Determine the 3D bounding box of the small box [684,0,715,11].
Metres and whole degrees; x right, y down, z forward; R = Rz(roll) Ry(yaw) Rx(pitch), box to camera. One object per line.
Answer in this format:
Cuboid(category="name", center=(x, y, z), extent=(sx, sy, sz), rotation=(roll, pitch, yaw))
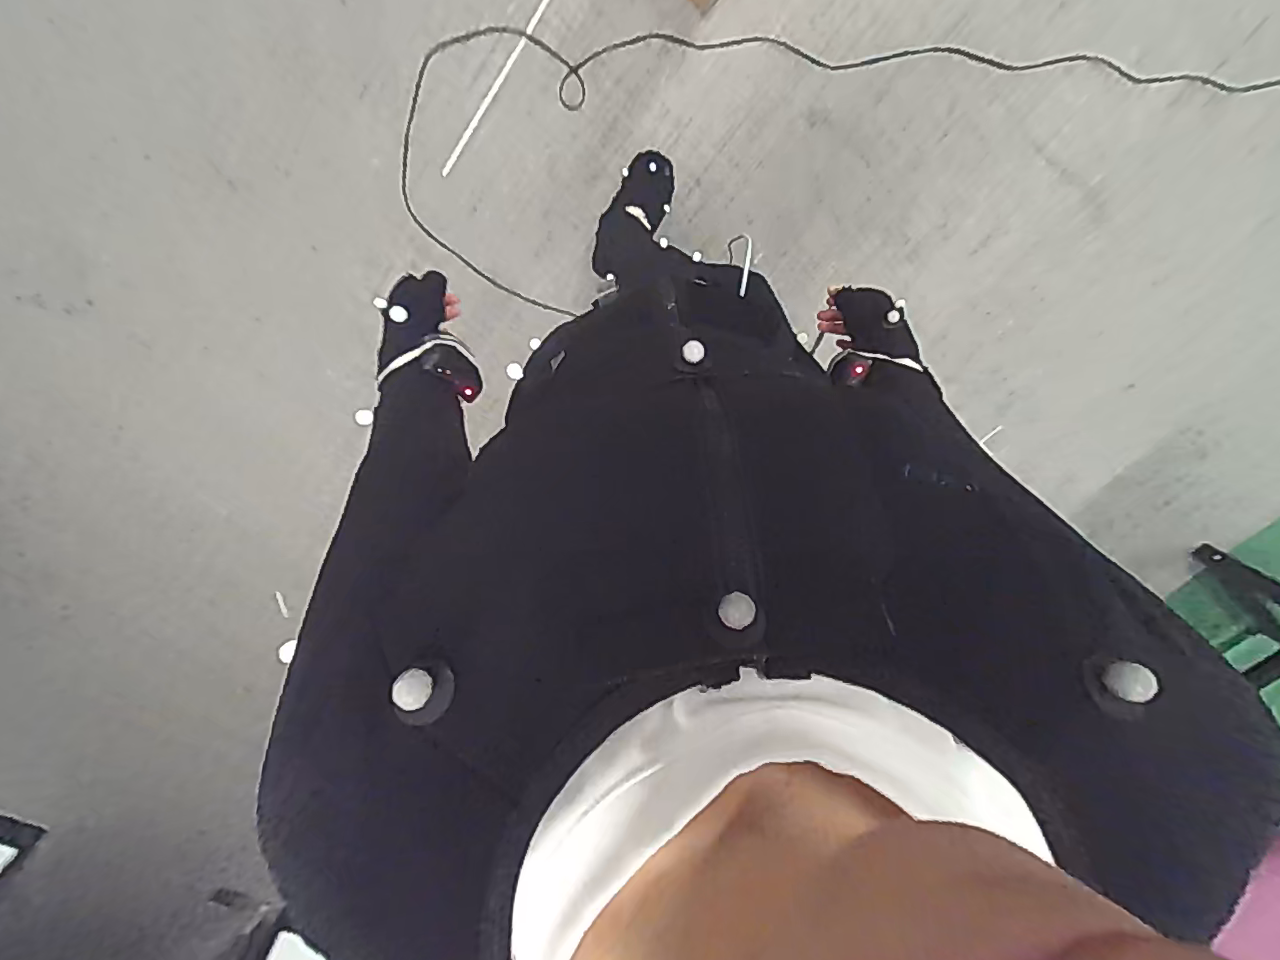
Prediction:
Cuboid(category="small box", center=(0.118, -1.008, 0.980), extent=(0.179, 0.176, 0.168), rotation=(34, 106, -19))
